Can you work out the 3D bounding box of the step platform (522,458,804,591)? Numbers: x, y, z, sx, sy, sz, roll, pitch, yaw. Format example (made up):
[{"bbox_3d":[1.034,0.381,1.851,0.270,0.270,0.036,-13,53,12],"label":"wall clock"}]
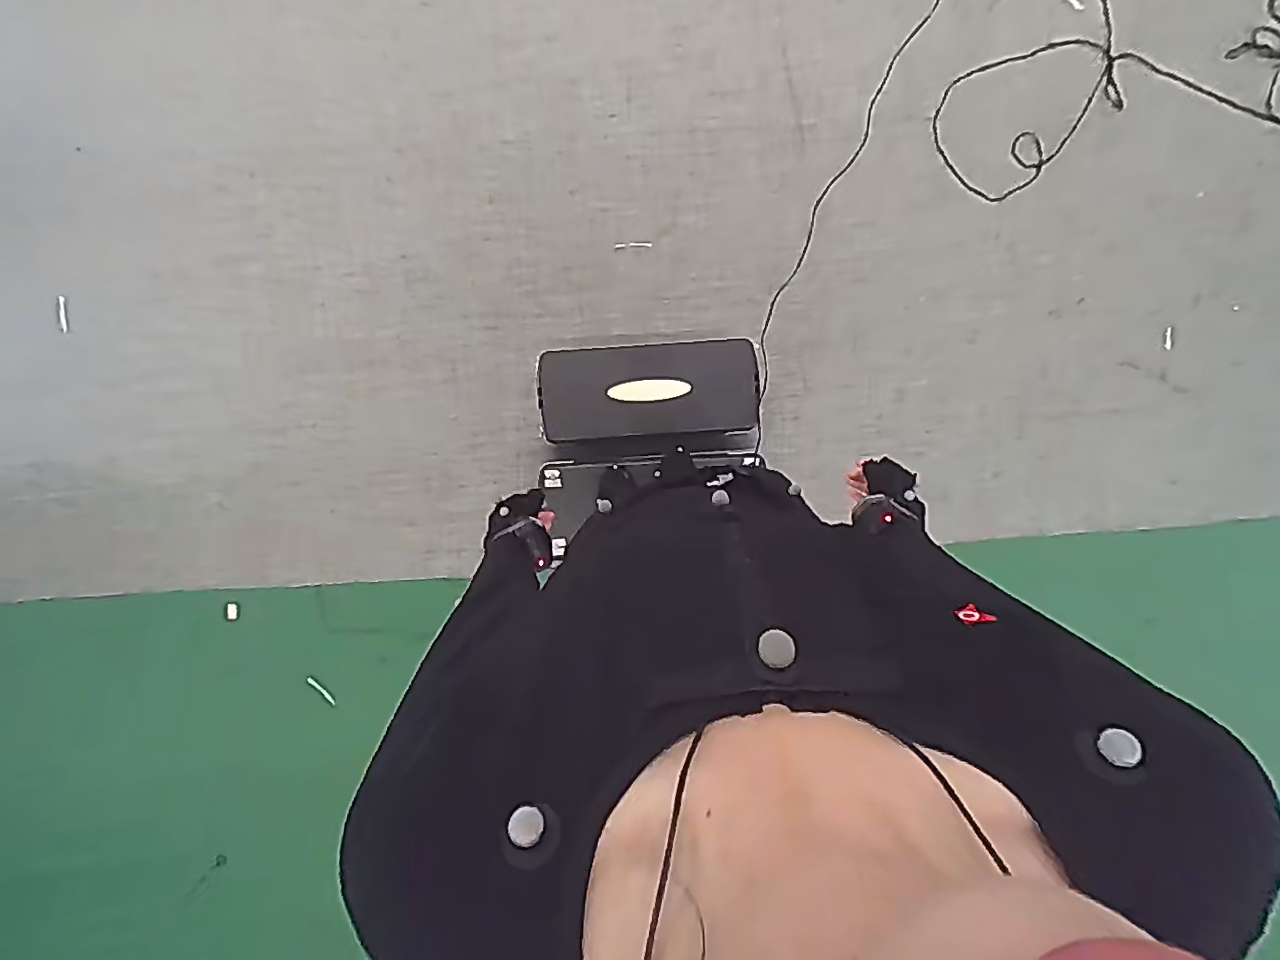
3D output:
[{"bbox_3d":[0.053,0.106,1.395,0.684,0.204,0.286,-4,92,-2],"label":"step platform"}]
